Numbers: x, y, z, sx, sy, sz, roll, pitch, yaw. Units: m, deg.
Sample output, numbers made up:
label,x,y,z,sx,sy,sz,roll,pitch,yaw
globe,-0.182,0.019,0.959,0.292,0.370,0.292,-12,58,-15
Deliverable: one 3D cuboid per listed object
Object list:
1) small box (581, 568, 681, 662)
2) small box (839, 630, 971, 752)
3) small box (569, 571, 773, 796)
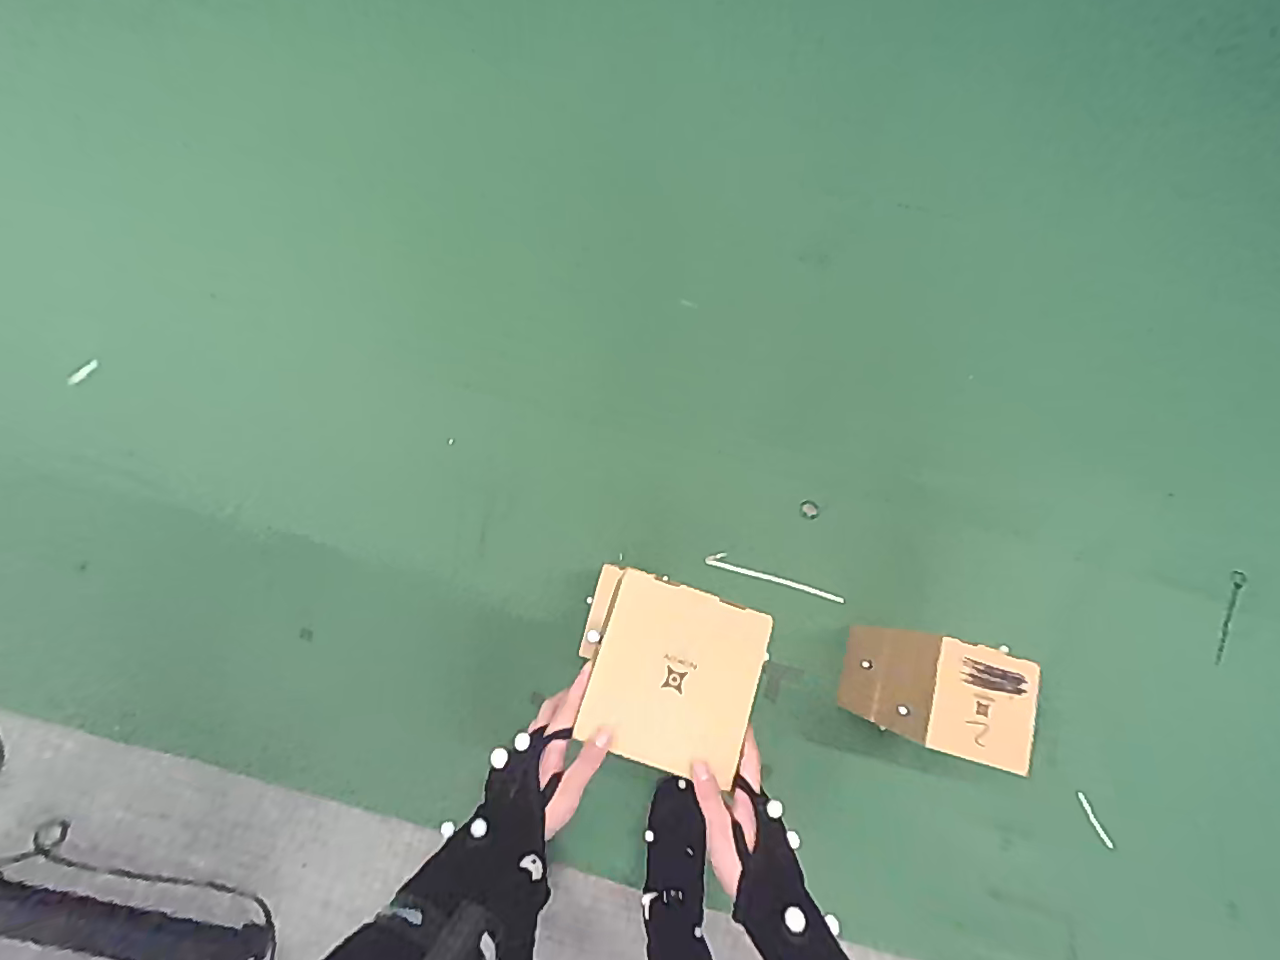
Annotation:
label,x,y,z,sx,sy,sz,roll,pitch,yaw
small box,-0.014,0.286,1.082,0.168,0.176,0.179,15,78,1
small box,0.521,0.409,1.082,0.168,0.176,0.179,17,77,1
small box,0.029,0.214,0.619,0.168,0.176,0.179,19,82,-2
